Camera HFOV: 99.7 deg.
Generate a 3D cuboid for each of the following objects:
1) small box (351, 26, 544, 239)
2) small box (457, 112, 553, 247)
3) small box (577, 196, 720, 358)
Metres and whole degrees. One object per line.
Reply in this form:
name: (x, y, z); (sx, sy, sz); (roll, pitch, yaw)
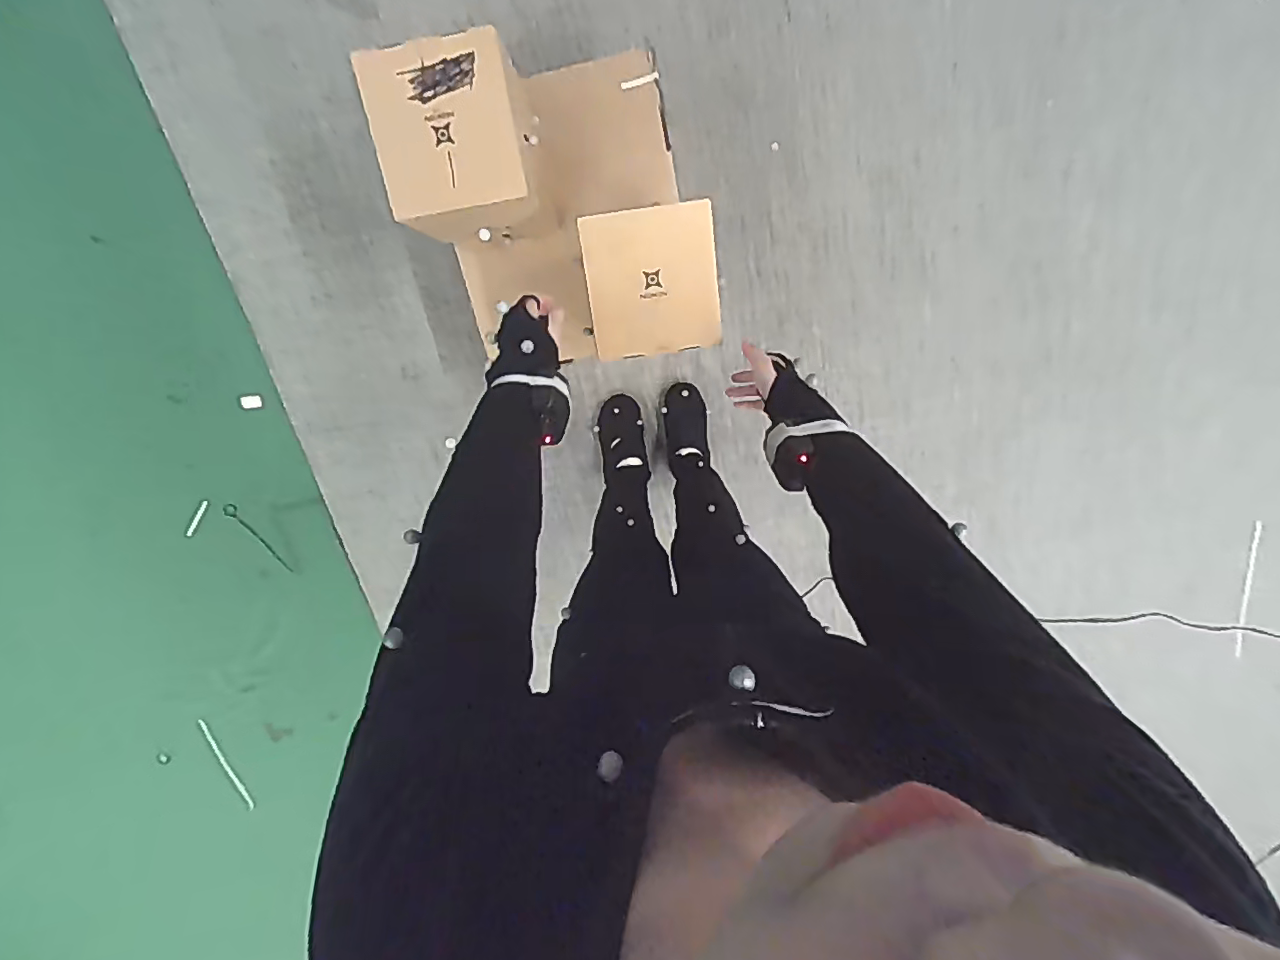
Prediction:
small box: (-0.230, -0.427, 0.695); (0.168, 0.176, 0.179); (-10, 106, 2)
small box: (-0.244, -0.485, 0.850); (0.168, 0.176, 0.179); (-12, 106, 3)
small box: (0.008, -0.274, 0.753); (0.168, 0.176, 0.179); (-9, 108, 0)
